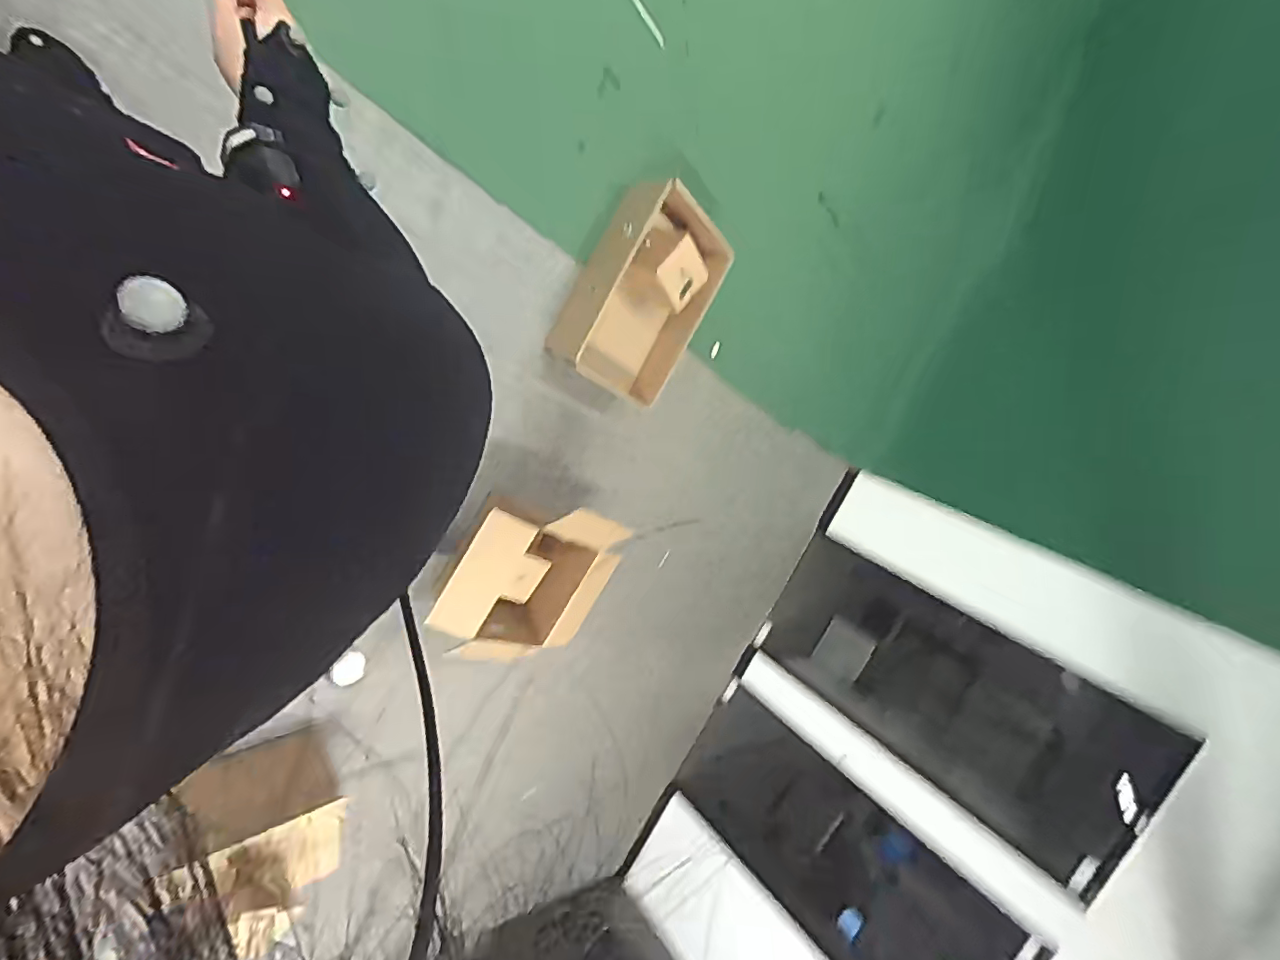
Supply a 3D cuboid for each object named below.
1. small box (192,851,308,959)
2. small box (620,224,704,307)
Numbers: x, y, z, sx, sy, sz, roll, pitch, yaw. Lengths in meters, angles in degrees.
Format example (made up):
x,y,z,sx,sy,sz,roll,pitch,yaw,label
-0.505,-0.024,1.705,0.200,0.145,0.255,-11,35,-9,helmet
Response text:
x,y,z,sx,sy,sz,roll,pitch,yaw,label
-1.016,1.104,1.403,0.179,0.176,0.168,-50,139,-12,small box
0.070,-0.696,1.746,0.168,0.176,0.179,-52,141,-6,small box
